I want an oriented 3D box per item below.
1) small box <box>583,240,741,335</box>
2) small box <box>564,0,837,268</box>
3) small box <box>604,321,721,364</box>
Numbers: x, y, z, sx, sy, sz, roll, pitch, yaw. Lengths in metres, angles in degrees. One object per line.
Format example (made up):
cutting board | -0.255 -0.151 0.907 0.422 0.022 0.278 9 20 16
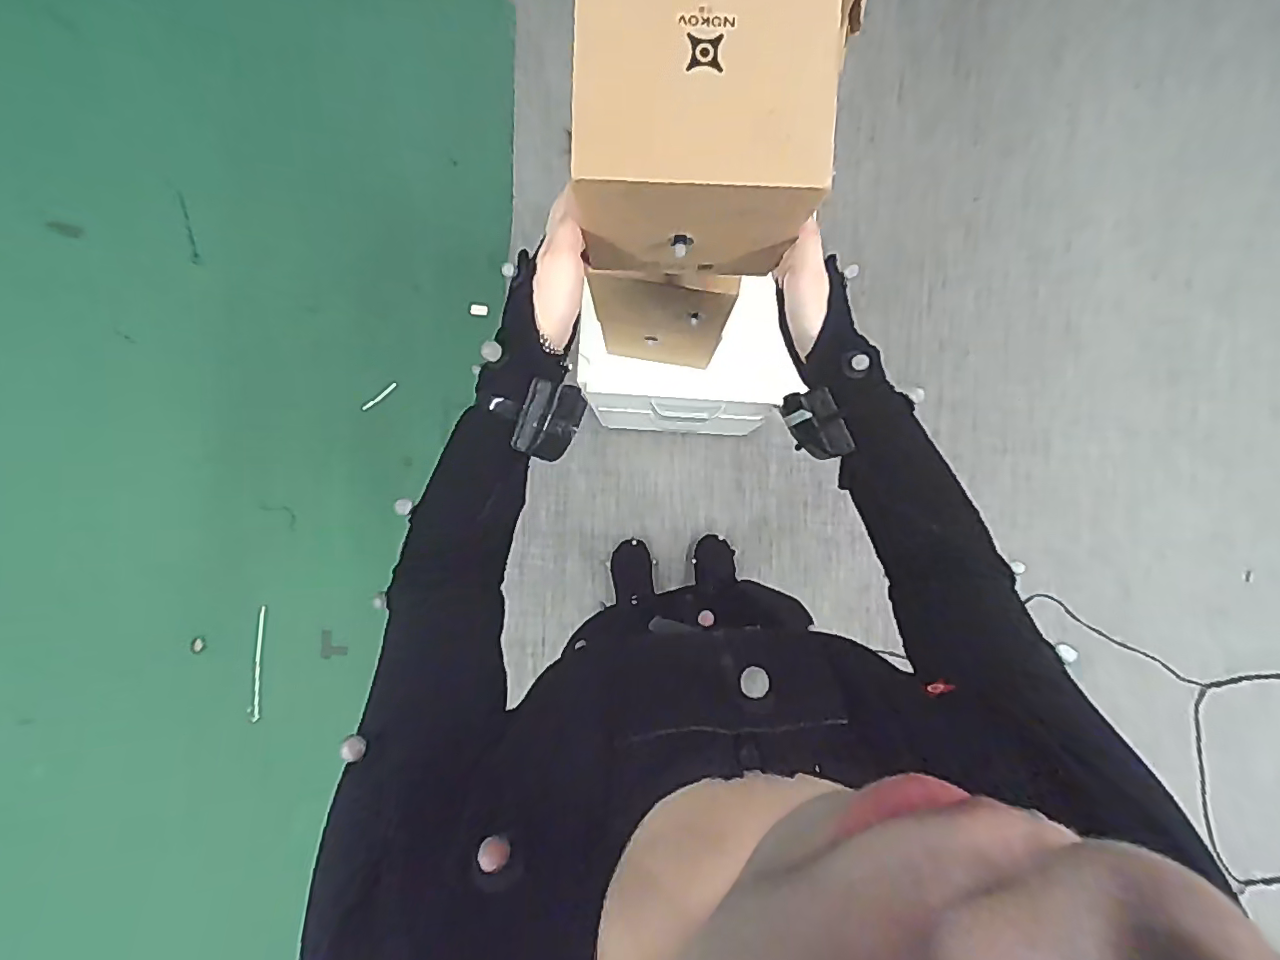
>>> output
small box | 0.035 -0.294 0.681 0.179 0.176 0.168 9 86 1
small box | 0.038 -0.276 0.411 0.168 0.176 0.179 2 92 -1
small box | 0.039 -0.290 0.843 0.179 0.176 0.168 9 87 0
